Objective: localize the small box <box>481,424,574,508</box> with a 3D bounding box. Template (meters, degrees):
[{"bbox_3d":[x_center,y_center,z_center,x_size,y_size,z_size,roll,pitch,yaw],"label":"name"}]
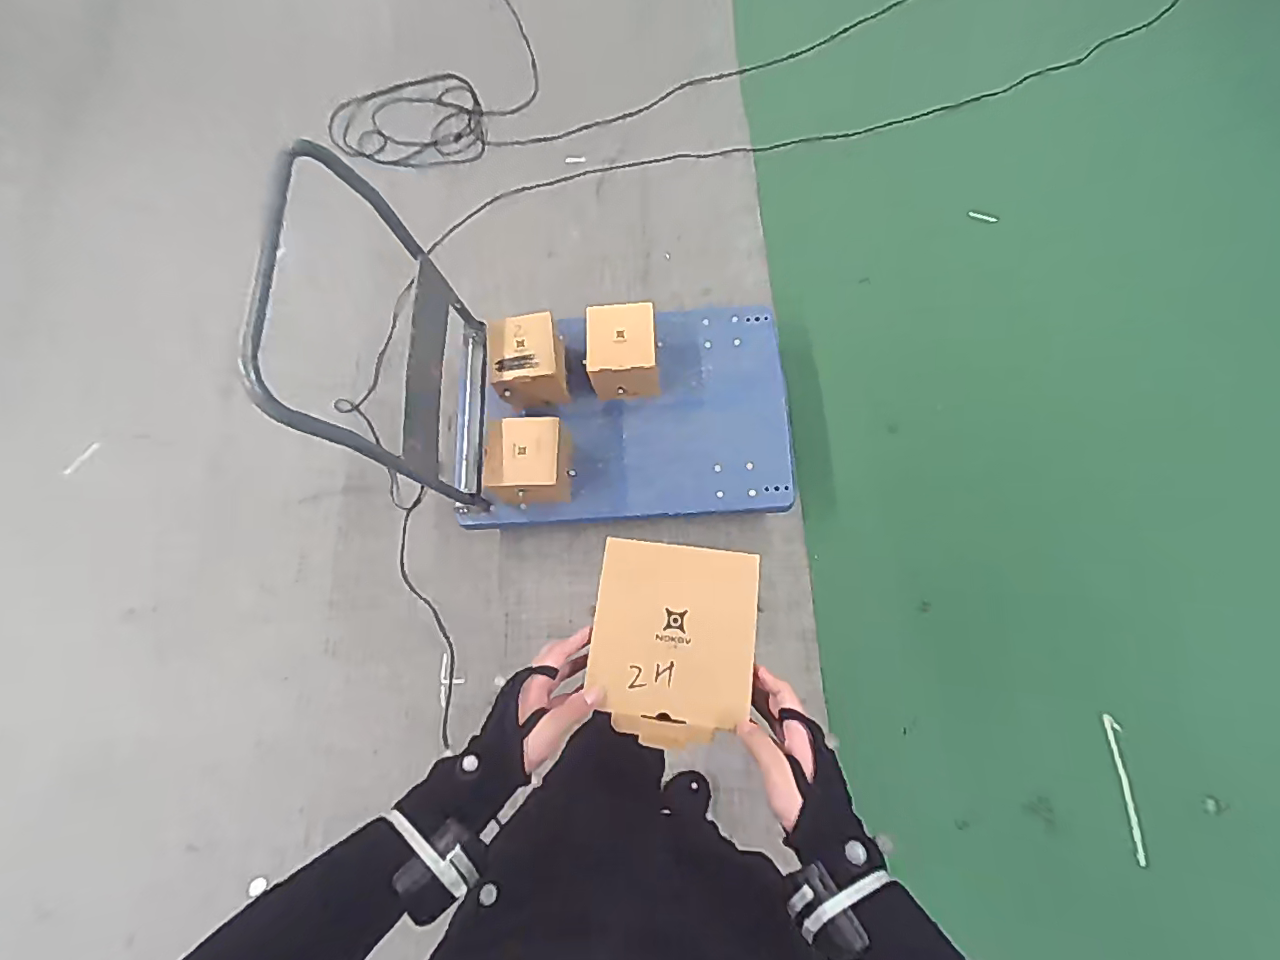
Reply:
[{"bbox_3d":[-0.267,-0.030,1.317,0.179,0.176,0.168,-1,74,4],"label":"small box"}]

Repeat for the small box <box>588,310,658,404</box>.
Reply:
[{"bbox_3d":[-0.040,-0.309,1.383,0.168,0.176,0.179,-3,75,3],"label":"small box"}]

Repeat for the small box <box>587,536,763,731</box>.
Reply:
[{"bbox_3d":[0.043,0.178,0.630,0.168,0.176,0.179,6,71,7],"label":"small box"}]
